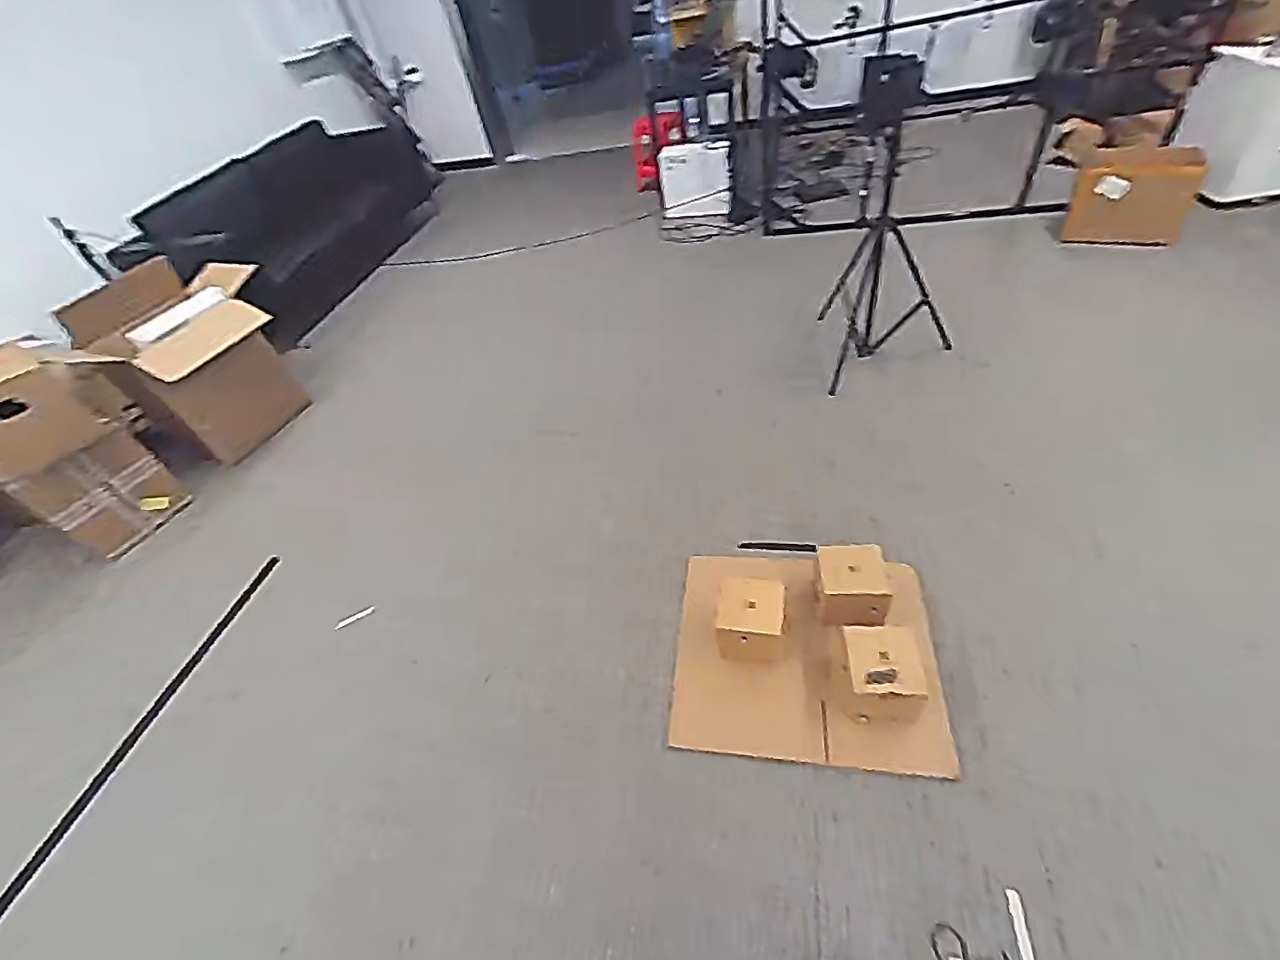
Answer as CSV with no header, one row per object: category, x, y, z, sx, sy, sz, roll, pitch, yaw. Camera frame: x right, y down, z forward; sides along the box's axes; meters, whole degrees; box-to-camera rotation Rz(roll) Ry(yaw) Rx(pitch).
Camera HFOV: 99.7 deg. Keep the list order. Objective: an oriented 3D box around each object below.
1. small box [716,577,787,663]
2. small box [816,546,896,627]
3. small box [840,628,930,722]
small box,0.317,0.396,1.519,0.179,0.176,0.168,2,47,17
small box,0.607,0.306,1.541,0.179,0.176,0.168,-4,44,11
small box,0.605,0.491,1.357,0.168,0.176,0.179,-2,46,11
